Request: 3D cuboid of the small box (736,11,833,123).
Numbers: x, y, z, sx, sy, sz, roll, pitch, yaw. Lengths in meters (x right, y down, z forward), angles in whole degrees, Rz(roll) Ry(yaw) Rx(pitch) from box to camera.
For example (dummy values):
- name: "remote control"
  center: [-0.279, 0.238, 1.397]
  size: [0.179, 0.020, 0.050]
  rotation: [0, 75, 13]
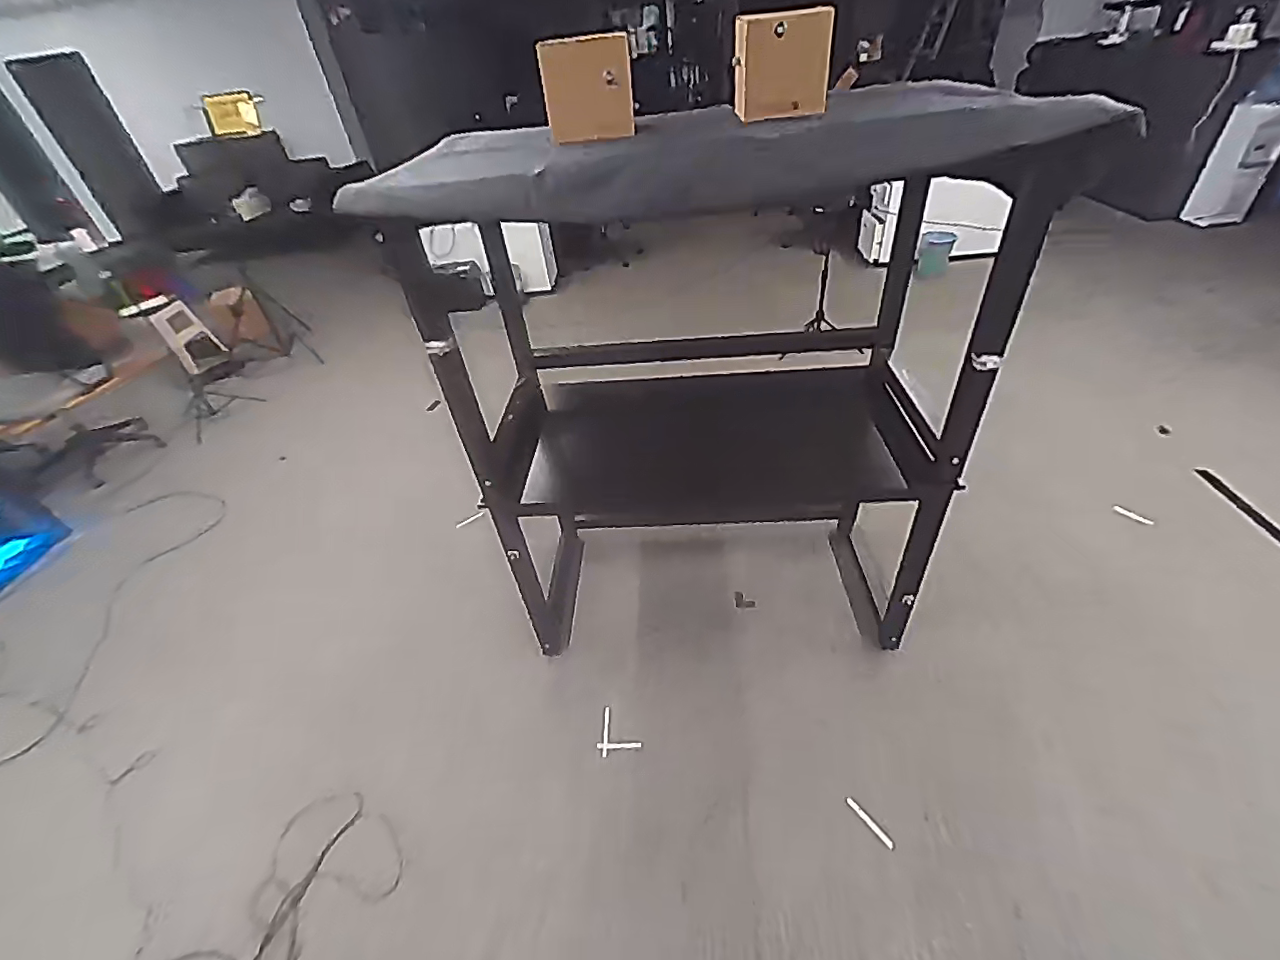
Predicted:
- name: "small box"
  center: [0.292, -0.860, 1.132]
  size: [0.168, 0.176, 0.179]
  rotation: [-3, 39, 5]
